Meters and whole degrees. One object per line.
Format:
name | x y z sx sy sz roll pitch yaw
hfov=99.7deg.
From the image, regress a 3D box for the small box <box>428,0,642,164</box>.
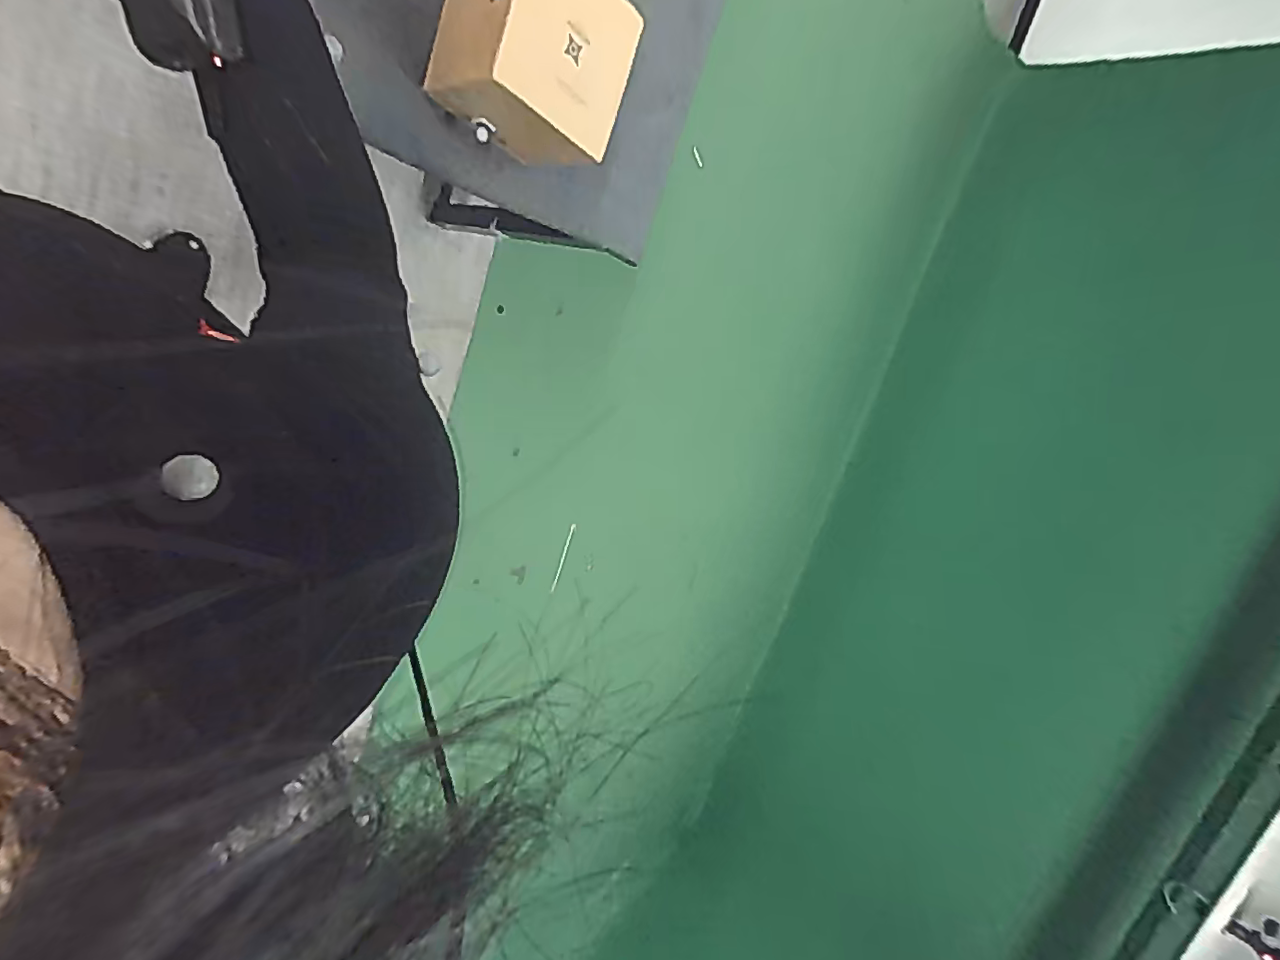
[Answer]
small box | -0.132 -0.514 0.656 0.168 0.176 0.179 9 103 -49
